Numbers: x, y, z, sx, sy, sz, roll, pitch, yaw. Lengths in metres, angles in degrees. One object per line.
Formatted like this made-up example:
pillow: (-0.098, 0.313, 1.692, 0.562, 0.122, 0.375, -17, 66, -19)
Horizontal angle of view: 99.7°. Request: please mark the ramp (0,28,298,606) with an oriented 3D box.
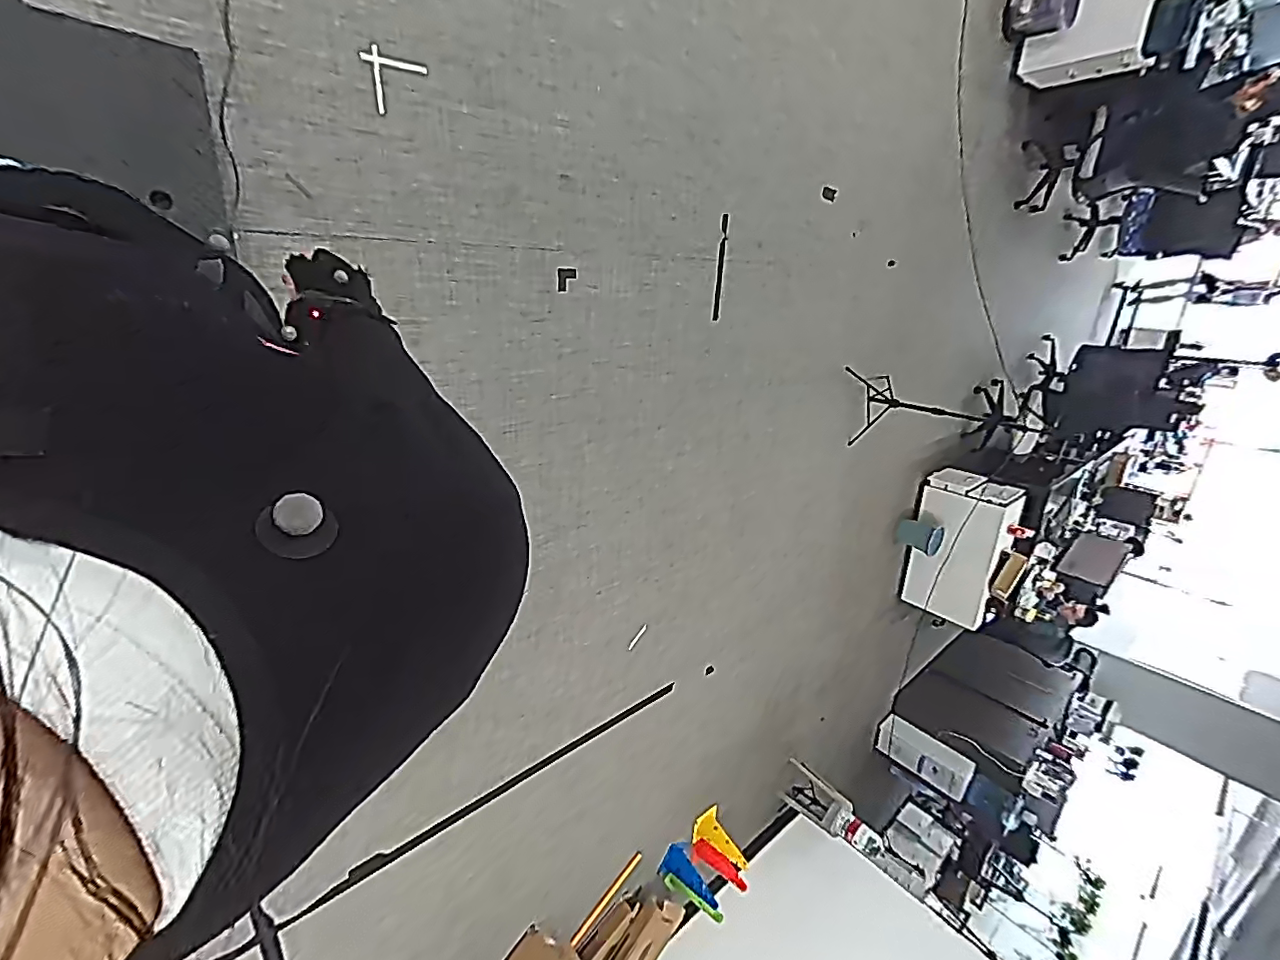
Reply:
ramp: (-1.037, -0.298, 1.039, 0.509, 0.206, 0.991, -14, 113, -36)
